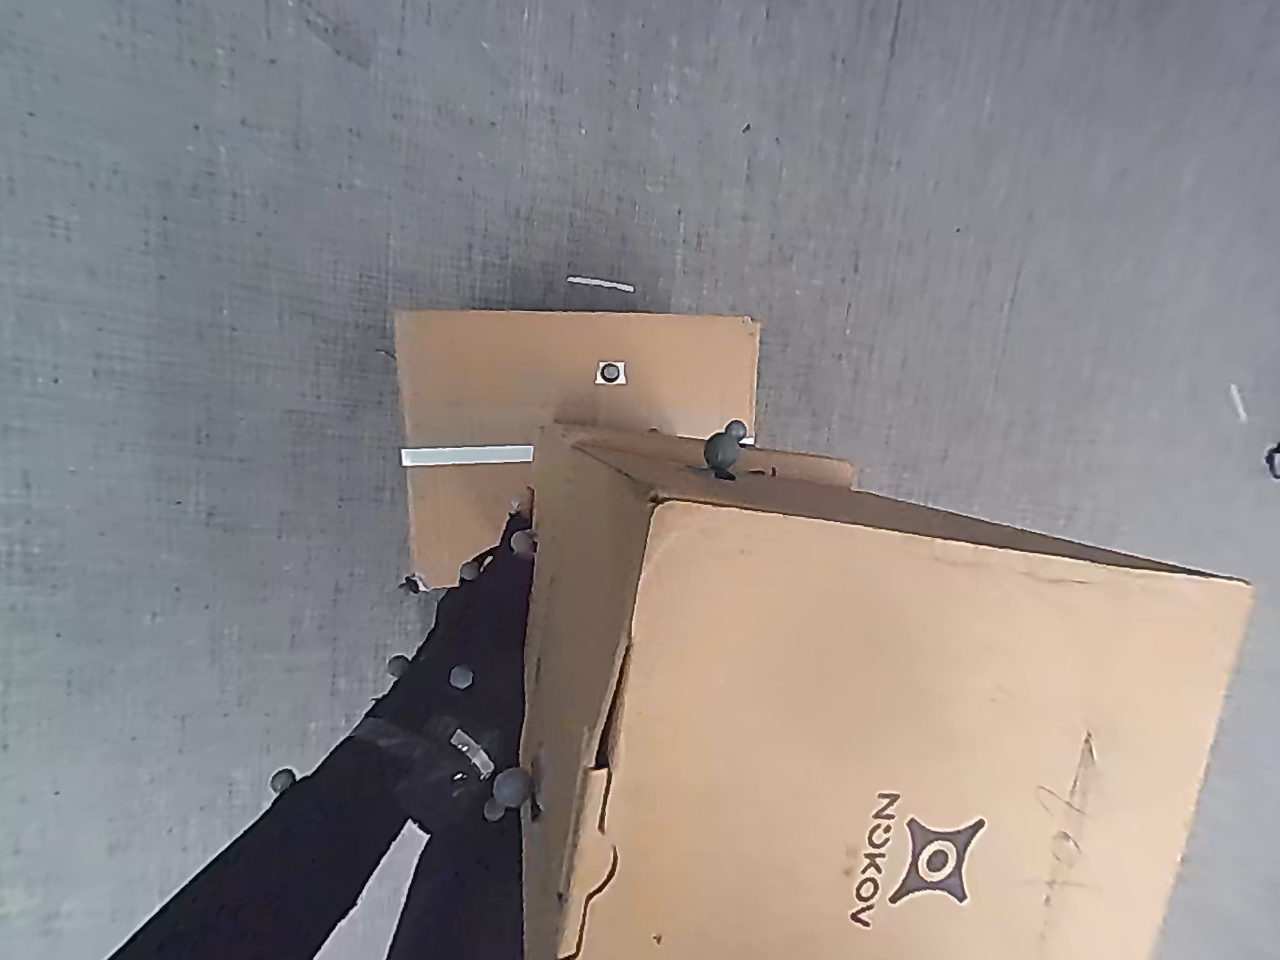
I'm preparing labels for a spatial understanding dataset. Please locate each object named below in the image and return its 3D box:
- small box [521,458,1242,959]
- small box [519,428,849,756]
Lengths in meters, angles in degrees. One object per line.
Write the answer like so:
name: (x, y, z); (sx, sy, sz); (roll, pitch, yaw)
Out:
small box: (0.051, 0.086, 0.212); (0.179, 0.176, 0.168); (8, 96, -14)
small box: (0.010, 0.063, 0.369); (0.168, 0.176, 0.179); (5, 96, -13)
